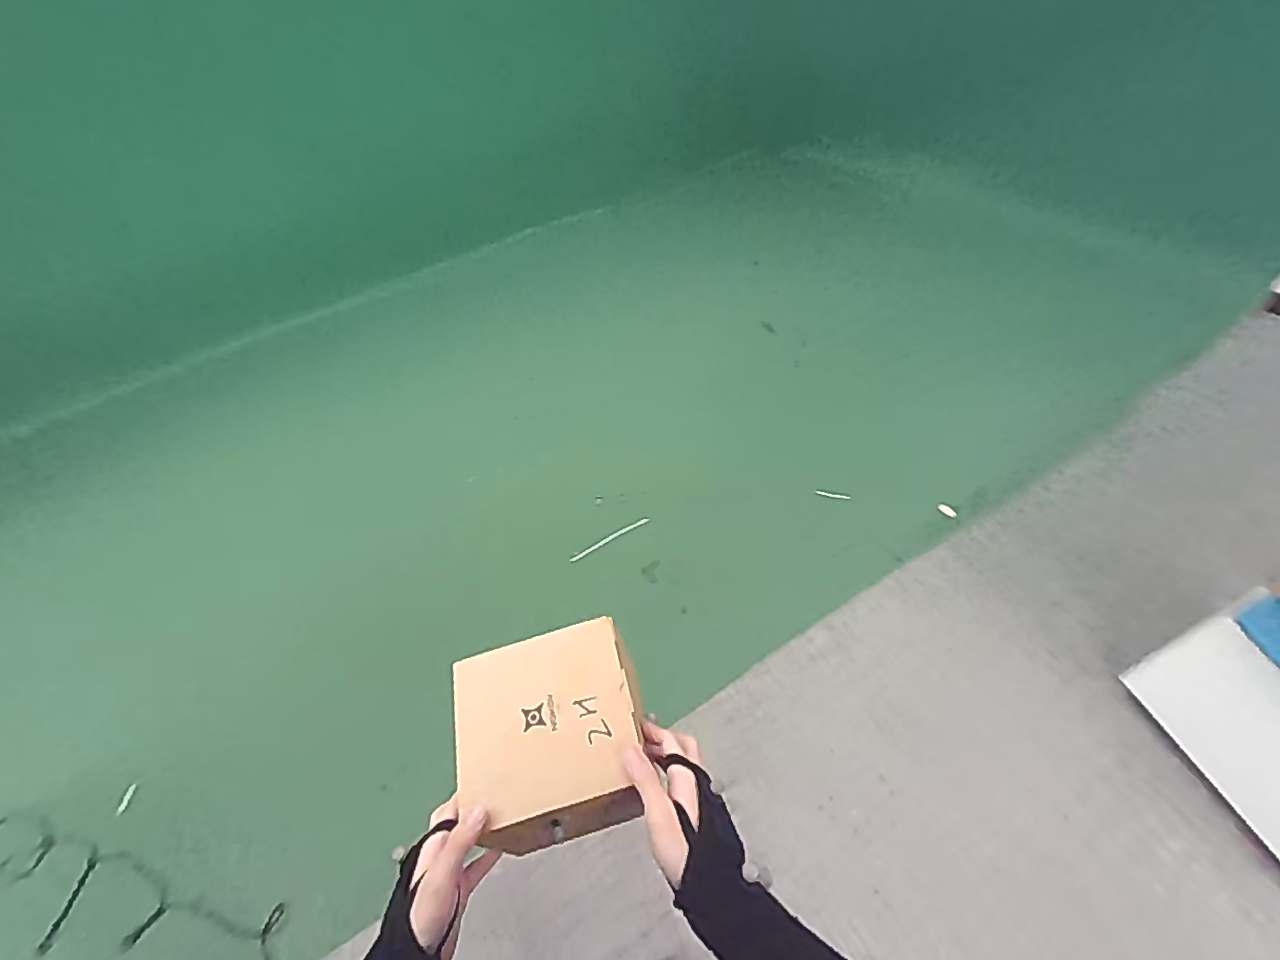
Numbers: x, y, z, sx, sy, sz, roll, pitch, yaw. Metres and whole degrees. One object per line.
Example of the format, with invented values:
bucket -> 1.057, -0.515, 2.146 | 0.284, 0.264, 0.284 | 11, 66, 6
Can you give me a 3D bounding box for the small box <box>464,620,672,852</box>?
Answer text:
small box -> -0.074, 0.281, 0.584 | 0.179, 0.176, 0.168 | -15, 51, -3
